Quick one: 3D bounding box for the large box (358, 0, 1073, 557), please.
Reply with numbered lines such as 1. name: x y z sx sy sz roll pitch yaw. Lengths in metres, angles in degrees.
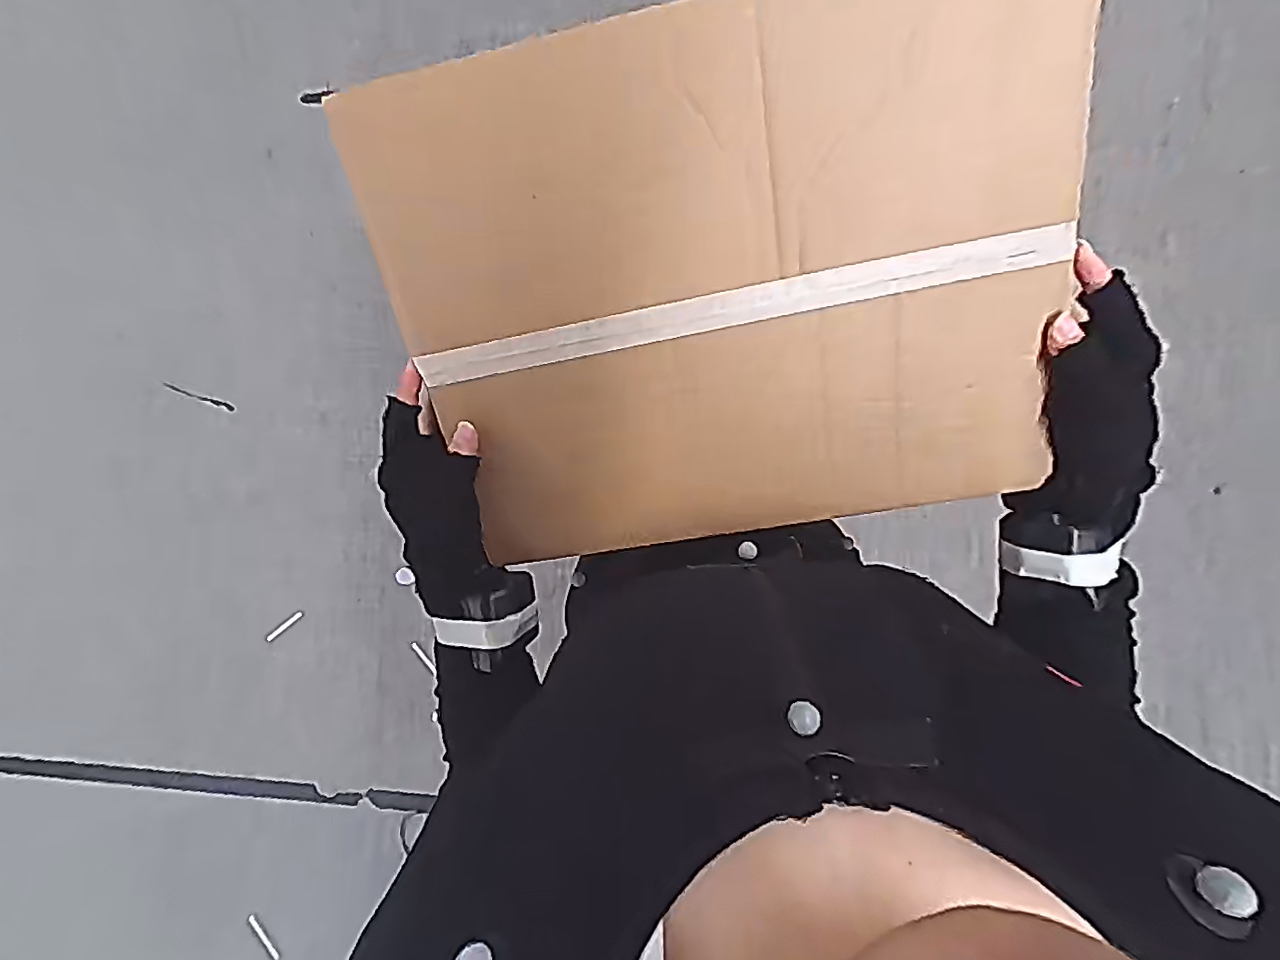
1. large box: 0.060 -0.165 0.485 0.408 0.320 0.320 -9 113 7
